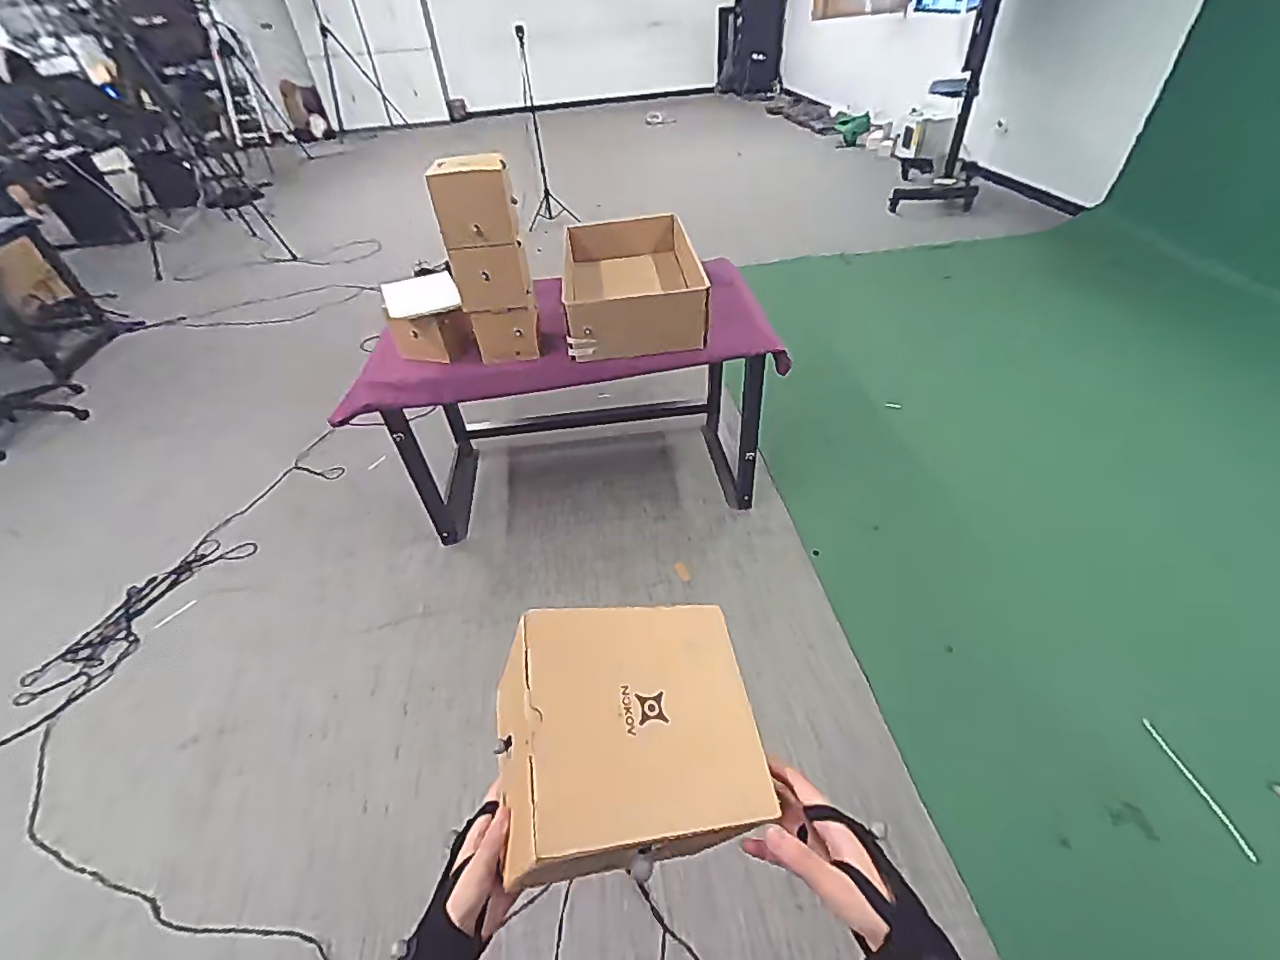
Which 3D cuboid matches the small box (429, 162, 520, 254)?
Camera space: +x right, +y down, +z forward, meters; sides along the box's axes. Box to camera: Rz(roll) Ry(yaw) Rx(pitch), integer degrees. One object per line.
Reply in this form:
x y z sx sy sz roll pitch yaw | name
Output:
-0.402 -0.679 1.351 0.179 0.176 0.168 -6 41 -3 | small box

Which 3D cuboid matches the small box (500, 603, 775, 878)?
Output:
-0.020 0.218 0.458 0.179 0.176 0.168 3 49 -19 | small box

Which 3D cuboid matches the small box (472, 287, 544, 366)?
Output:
-0.378 -0.443 1.578 0.168 0.176 0.179 -6 41 -2 | small box

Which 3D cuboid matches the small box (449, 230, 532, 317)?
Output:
-0.393 -0.557 1.461 0.179 0.176 0.168 -6 41 -2 | small box
